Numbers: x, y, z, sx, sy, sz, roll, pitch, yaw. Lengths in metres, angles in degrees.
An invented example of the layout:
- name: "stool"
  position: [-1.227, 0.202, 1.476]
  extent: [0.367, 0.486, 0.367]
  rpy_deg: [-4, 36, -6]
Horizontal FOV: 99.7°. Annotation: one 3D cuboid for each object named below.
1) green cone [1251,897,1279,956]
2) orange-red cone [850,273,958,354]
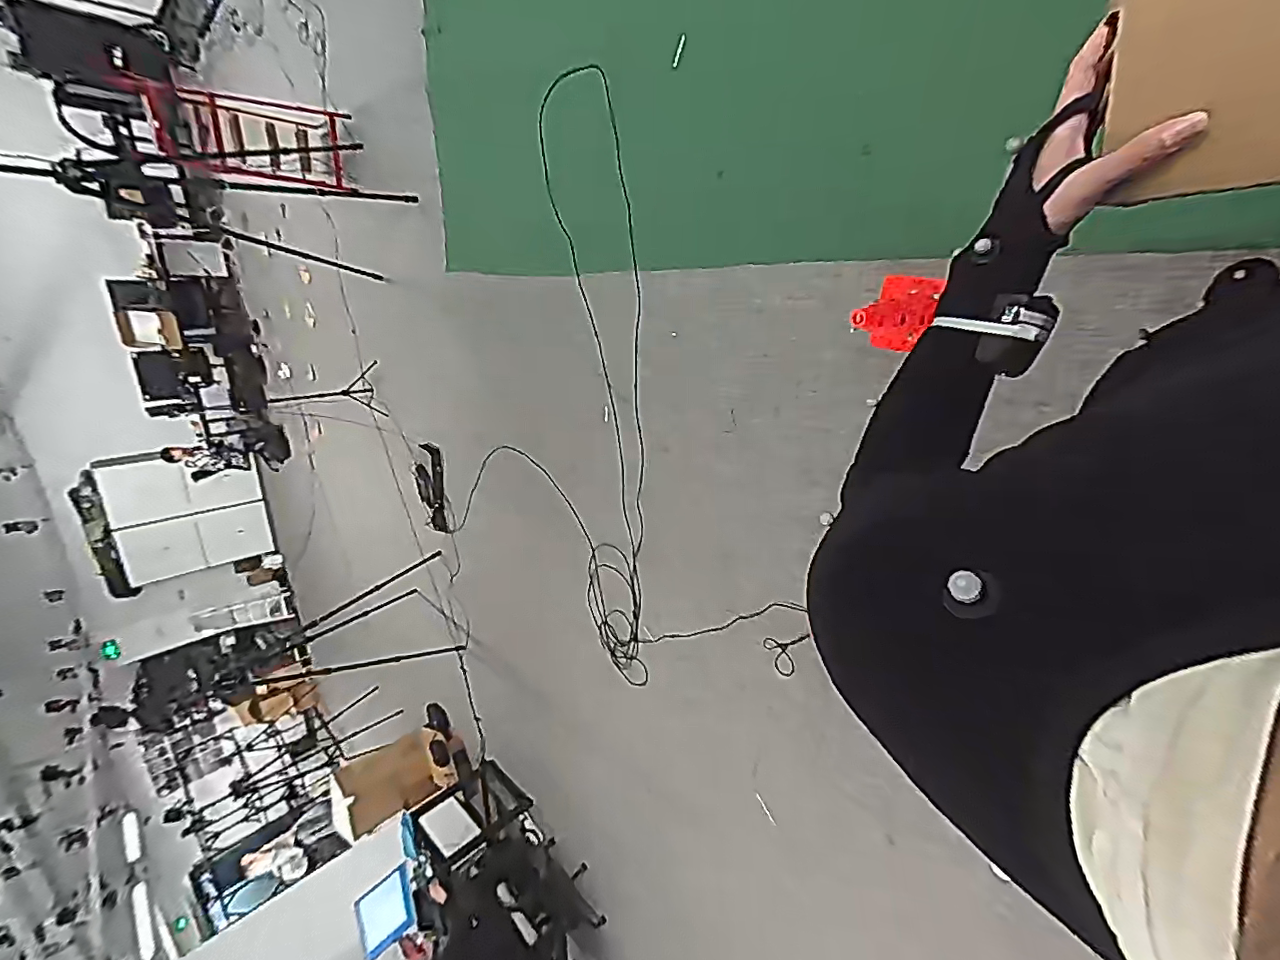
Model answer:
- name: "green cone"
  position: [1.421, 1.074, 1.082]
  extent: [0.200, 0.368, 0.202]
  rpy_deg: [24, 118, 38]
- name: "orange-red cone"
  position: [0.630, -0.427, 1.383]
  extent: [0.199, 0.360, 0.198]
  rpy_deg: [27, 121, 39]
